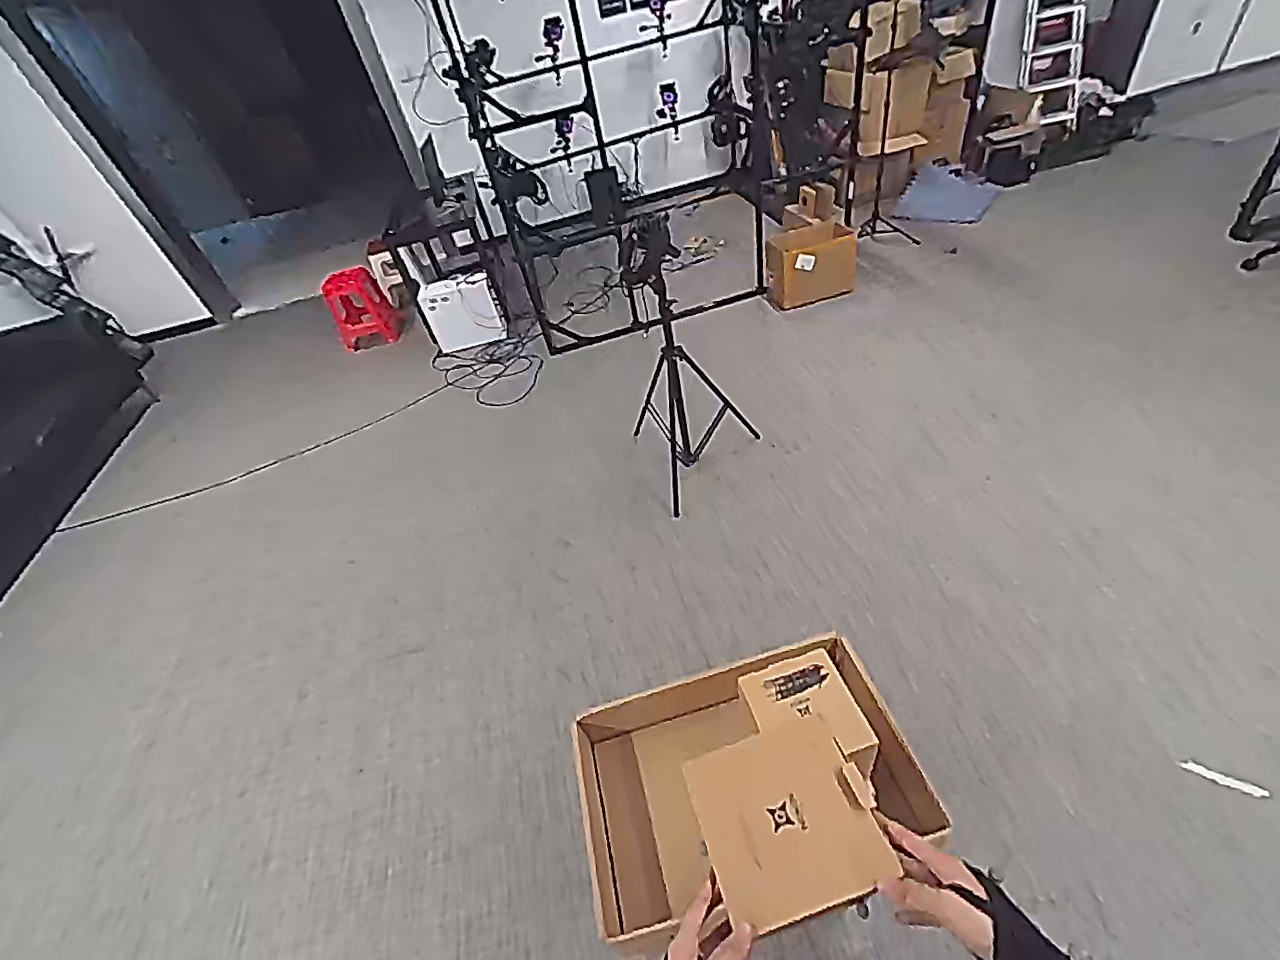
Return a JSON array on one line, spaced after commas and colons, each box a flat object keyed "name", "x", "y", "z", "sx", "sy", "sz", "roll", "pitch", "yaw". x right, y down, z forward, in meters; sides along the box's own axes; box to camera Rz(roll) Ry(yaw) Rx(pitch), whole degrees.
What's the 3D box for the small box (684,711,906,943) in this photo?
[{"name": "small box", "x": 0.164, "y": 0.397, "z": 0.618, "sx": 0.179, "sy": 0.176, "sz": 0.168, "roll": -19, "pitch": 47, "yaw": -3}]
